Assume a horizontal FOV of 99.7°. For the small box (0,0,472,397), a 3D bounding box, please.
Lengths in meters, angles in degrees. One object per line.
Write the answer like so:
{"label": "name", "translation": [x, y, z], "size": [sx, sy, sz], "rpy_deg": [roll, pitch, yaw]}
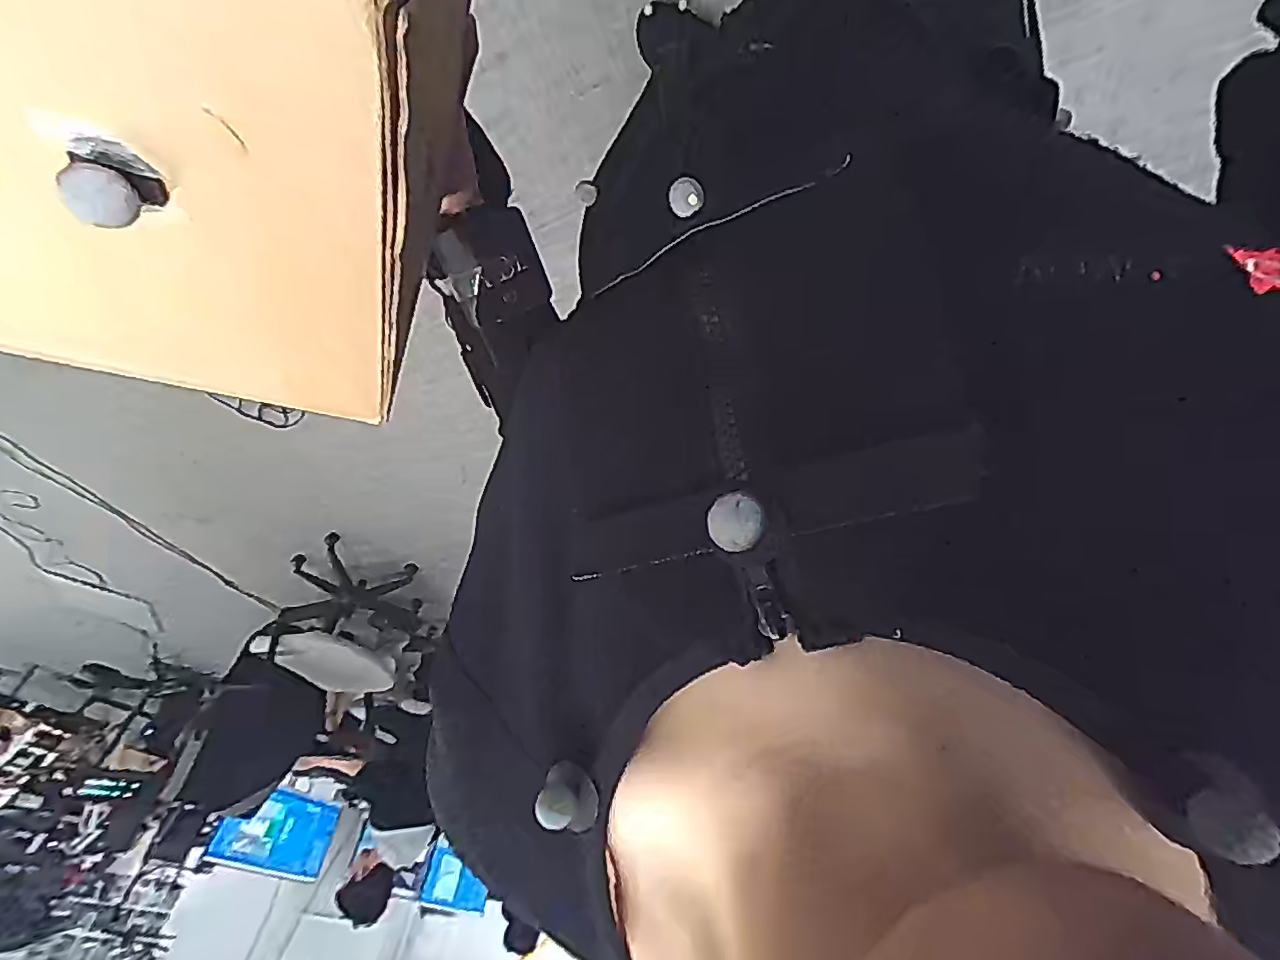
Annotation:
{"label": "small box", "translation": [-0.159, -0.157, 0.195], "size": [0.176, 0.168, 0.179], "rpy_deg": [11, 151, -20]}
